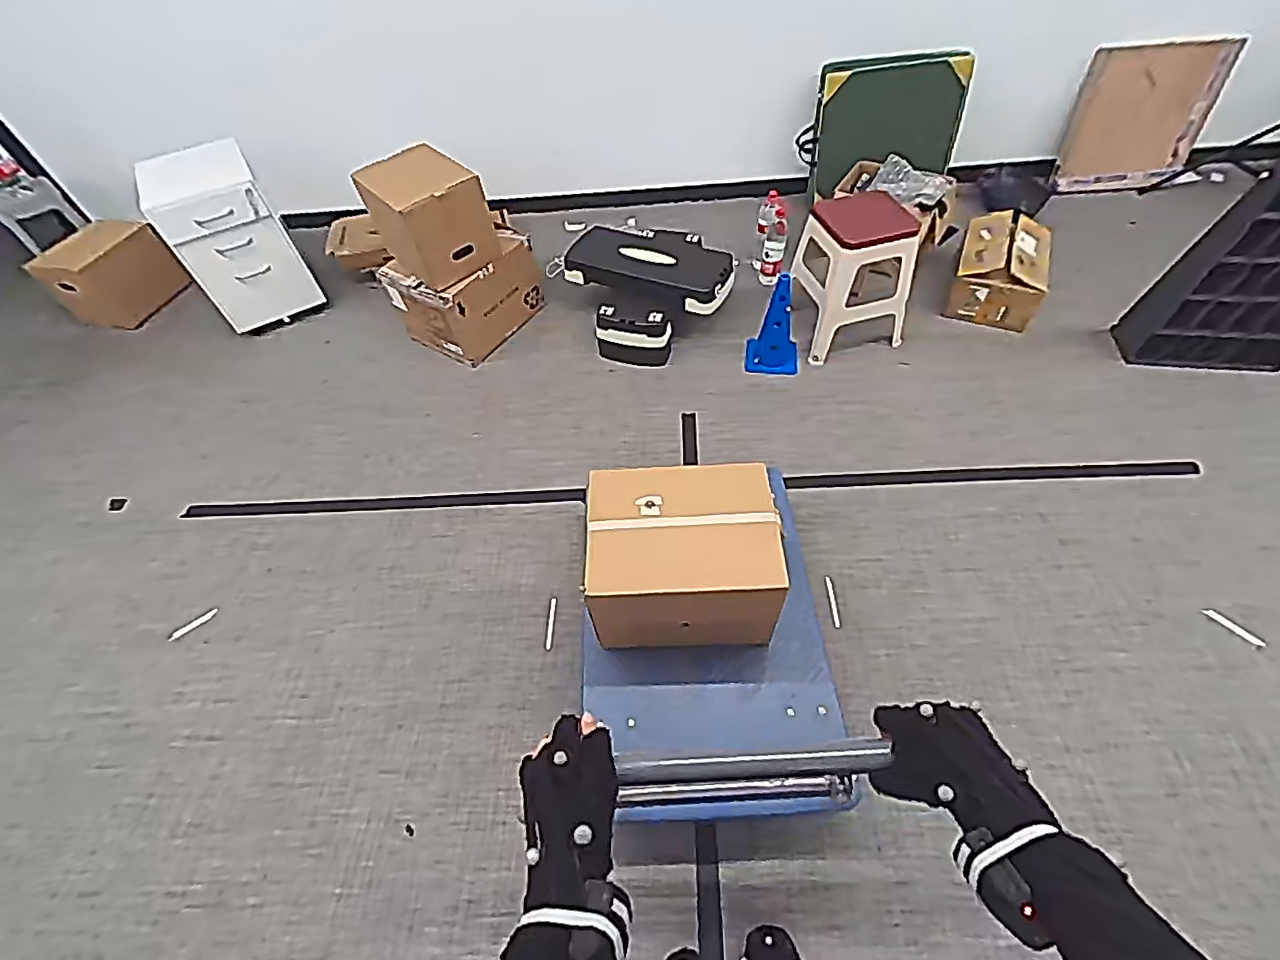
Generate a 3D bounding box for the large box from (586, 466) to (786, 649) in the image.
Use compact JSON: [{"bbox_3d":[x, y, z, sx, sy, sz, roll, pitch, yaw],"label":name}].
[{"bbox_3d":[0.098,0.192,1.273,0.408,0.320,0.320,-4,53,3],"label":"large box"}]
